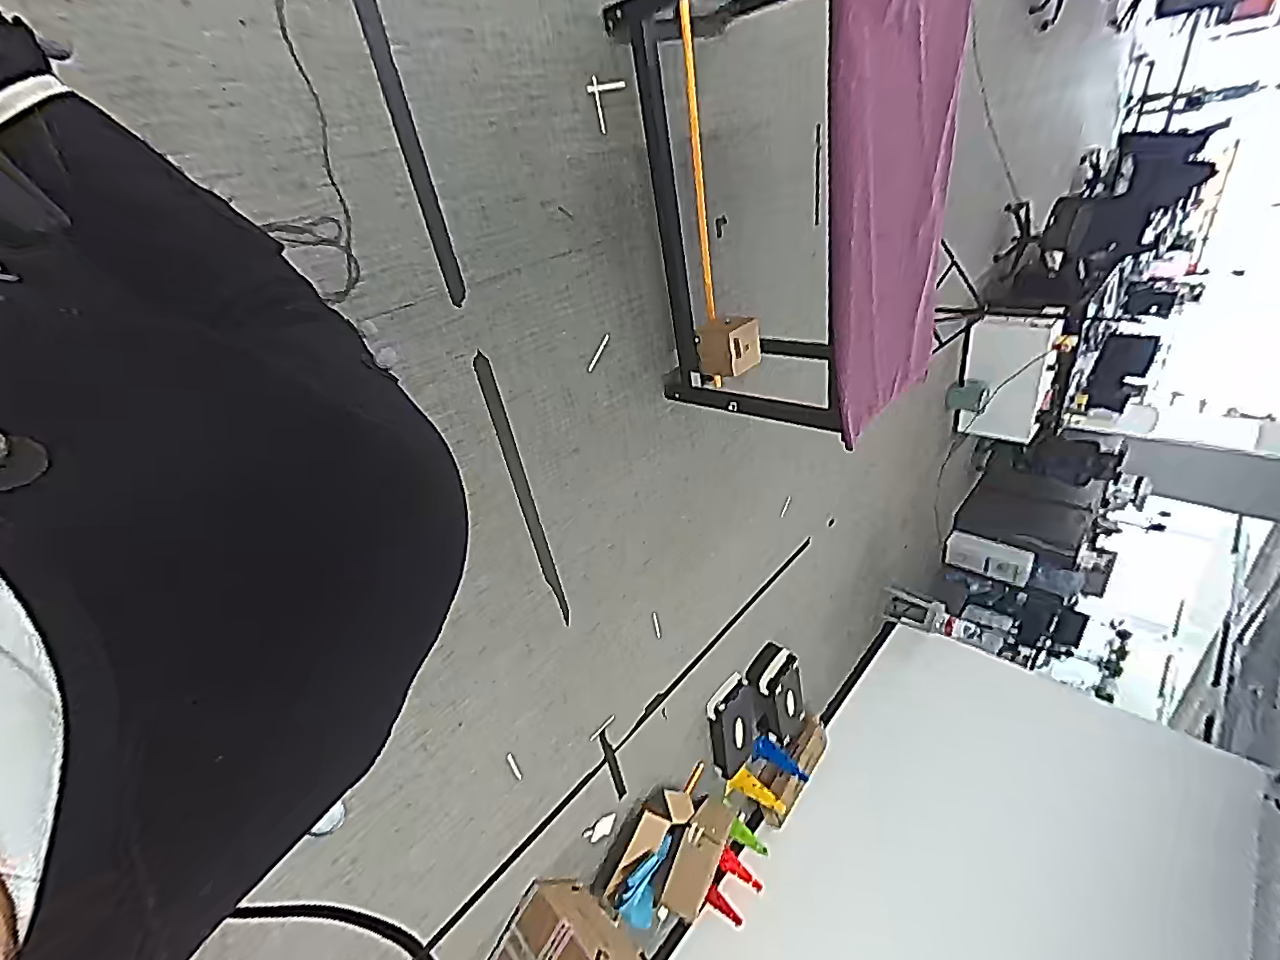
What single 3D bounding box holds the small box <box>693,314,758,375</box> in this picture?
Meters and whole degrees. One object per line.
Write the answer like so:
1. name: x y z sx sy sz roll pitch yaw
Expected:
1. small box: 0.302 -0.490 1.940 0.179 0.176 0.168 -35 127 -34
